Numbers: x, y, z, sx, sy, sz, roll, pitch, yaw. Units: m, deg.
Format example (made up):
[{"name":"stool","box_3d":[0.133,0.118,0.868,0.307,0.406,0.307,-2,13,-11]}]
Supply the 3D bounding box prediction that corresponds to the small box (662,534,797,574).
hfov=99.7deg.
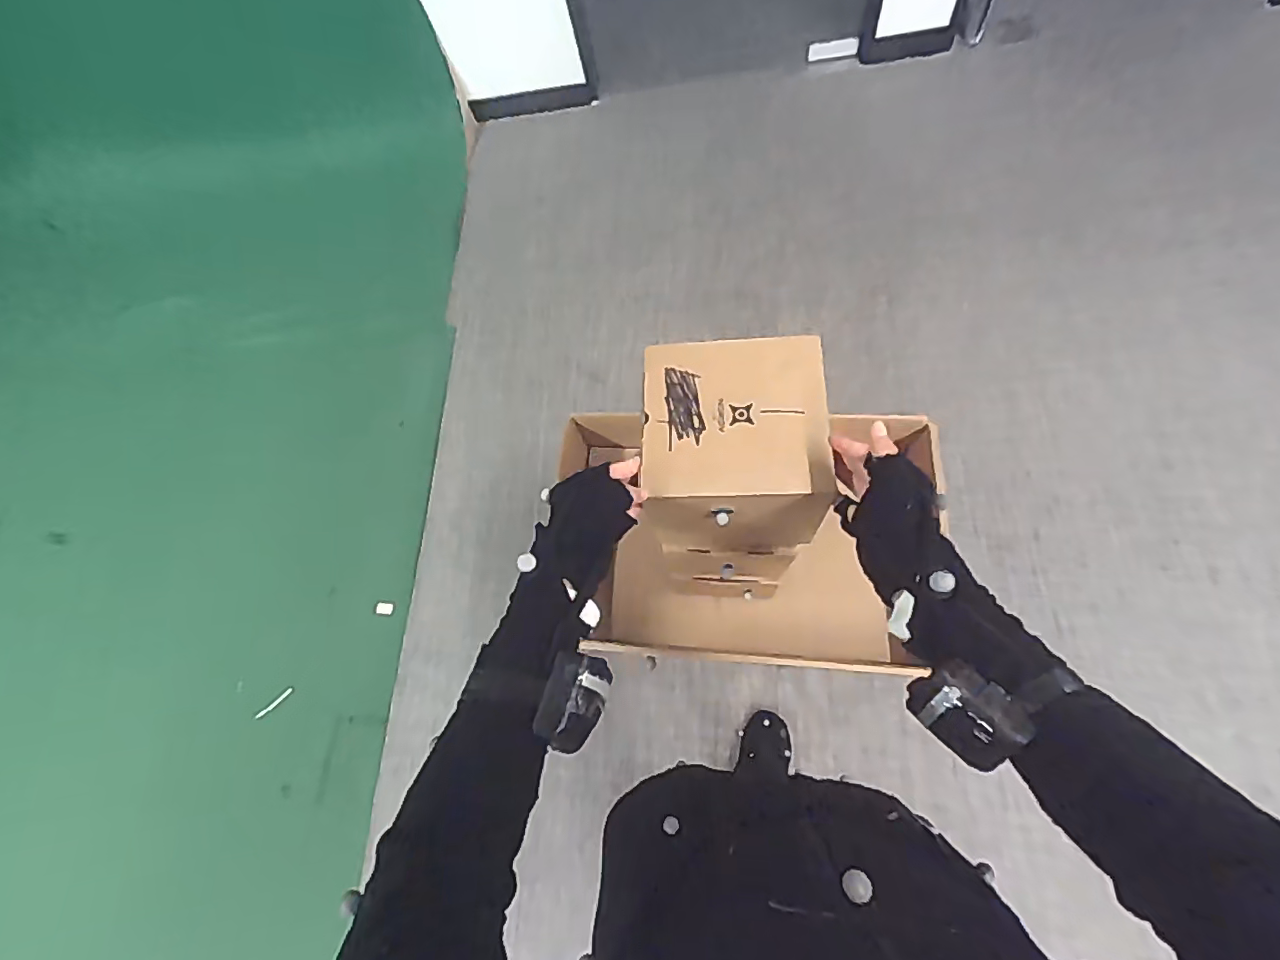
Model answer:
[{"name":"small box","box_3d":[0.125,0.032,0.754,0.168,0.176,0.179,2,72,8]}]

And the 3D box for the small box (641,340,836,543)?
[{"name":"small box","box_3d":[0.102,-0.030,0.586,0.179,0.176,0.168,-1,68,8]}]

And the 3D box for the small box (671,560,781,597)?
[{"name":"small box","box_3d":[0.145,0.095,0.904,0.168,0.176,0.179,1,69,8]}]
